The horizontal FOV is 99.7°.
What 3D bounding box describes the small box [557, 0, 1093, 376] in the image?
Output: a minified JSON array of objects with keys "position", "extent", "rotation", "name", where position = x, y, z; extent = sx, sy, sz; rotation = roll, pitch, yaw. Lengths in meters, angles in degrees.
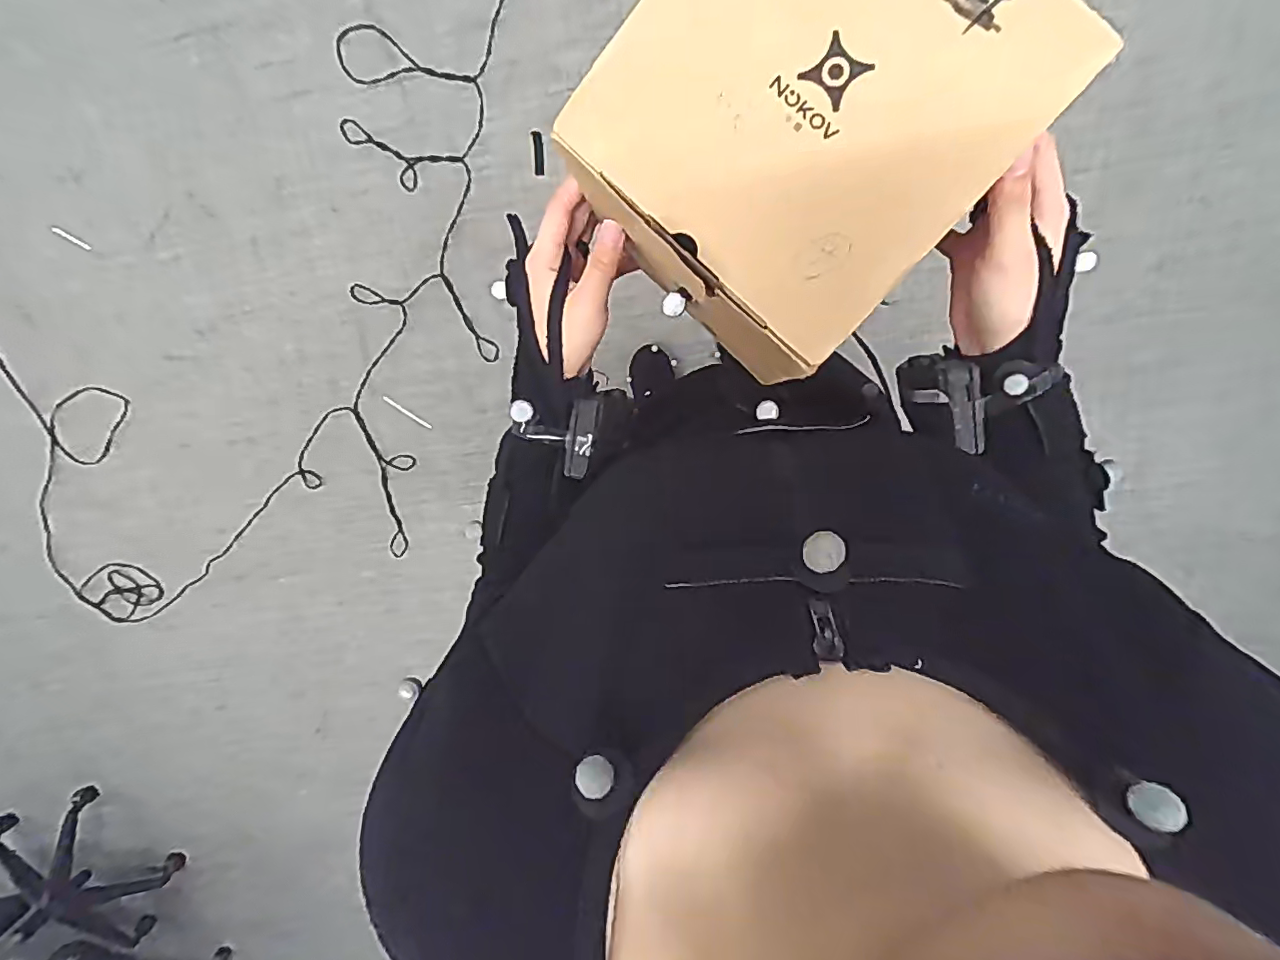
[{"position":[0.085,-0.176,0.319],"extent":[0.168,0.176,0.179],"rotation":[42,101,-1],"name":"small box"}]
